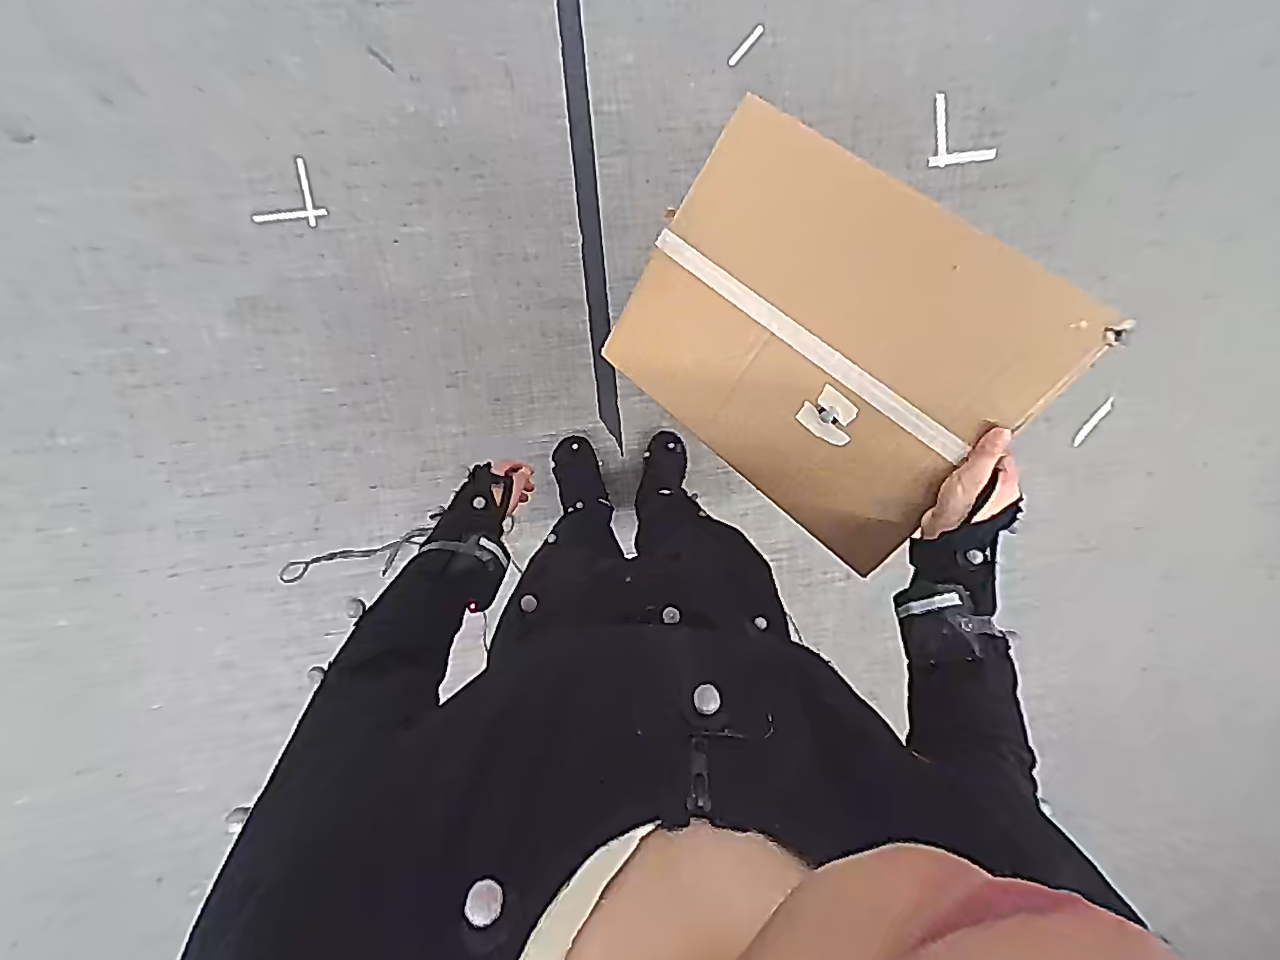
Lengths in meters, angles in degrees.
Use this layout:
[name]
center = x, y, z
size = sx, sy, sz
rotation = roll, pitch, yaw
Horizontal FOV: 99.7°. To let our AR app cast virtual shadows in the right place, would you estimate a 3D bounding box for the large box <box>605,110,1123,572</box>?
[large box]
center = 0.241, -0.165, 0.683
size = 0.408, 0.320, 0.320
rotation = 41, 117, 14
